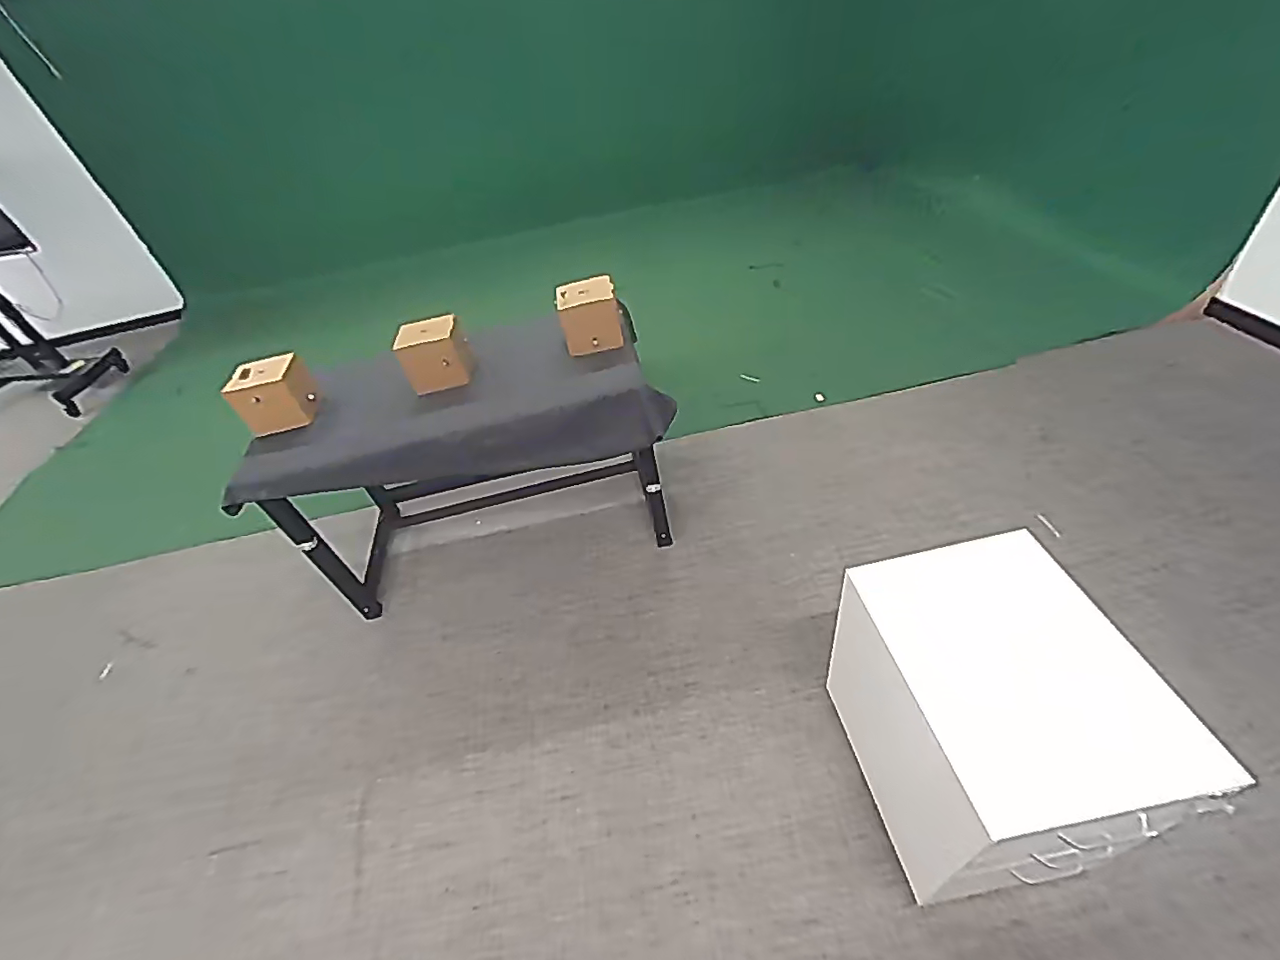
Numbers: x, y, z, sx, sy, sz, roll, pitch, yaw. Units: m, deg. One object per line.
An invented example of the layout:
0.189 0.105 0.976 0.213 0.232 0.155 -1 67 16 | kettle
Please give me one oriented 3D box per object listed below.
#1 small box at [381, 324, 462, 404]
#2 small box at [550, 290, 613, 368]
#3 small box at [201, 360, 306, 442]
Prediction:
-0.666 -0.358 1.676 0.179 0.176 0.168 -14 40 -2 | small box
-0.182 -0.476 1.709 0.179 0.176 0.168 -11 42 -1 | small box
-1.152 -0.235 1.626 0.179 0.176 0.168 -13 42 -6 | small box
